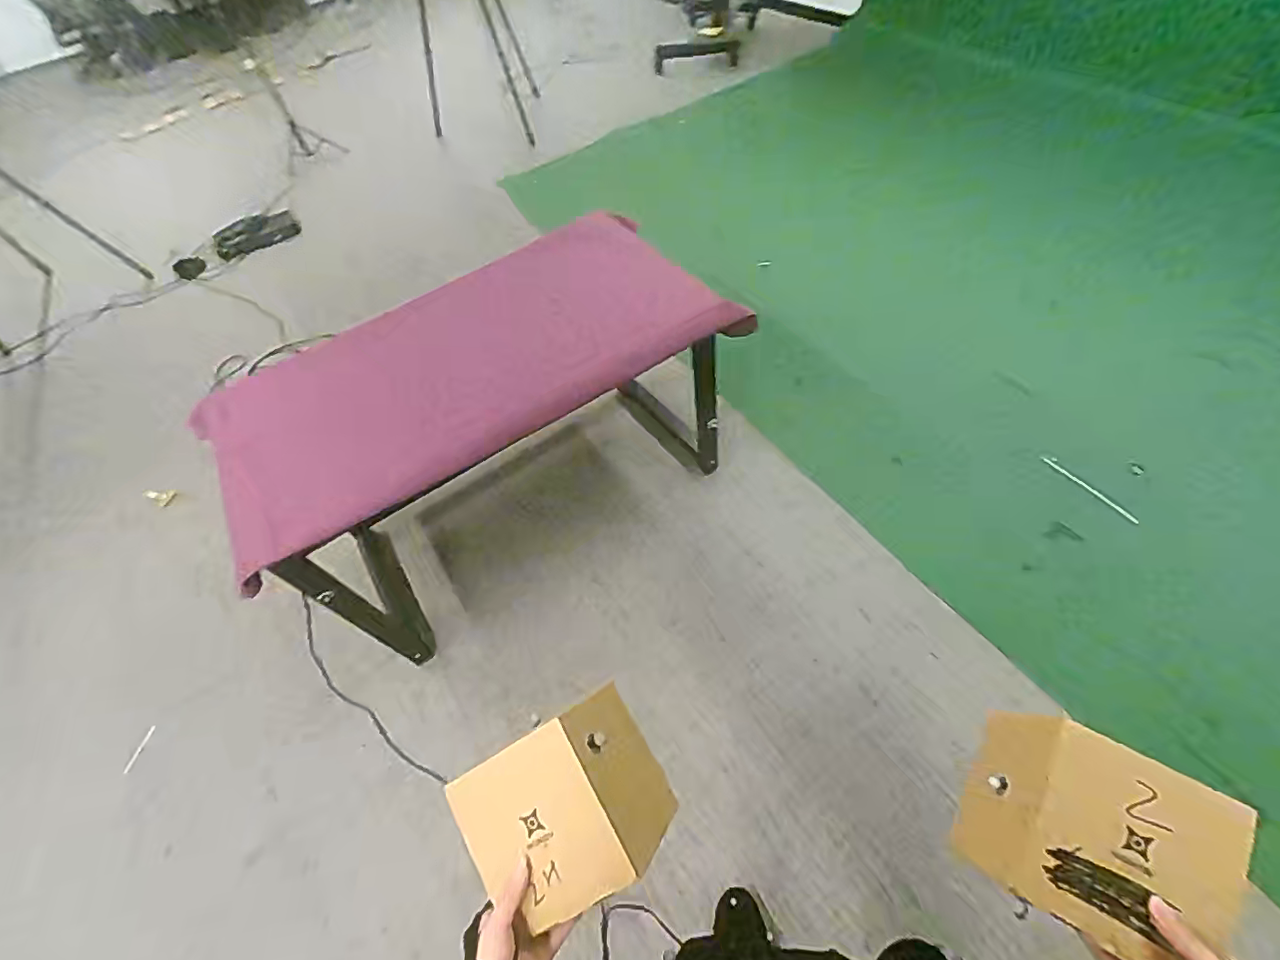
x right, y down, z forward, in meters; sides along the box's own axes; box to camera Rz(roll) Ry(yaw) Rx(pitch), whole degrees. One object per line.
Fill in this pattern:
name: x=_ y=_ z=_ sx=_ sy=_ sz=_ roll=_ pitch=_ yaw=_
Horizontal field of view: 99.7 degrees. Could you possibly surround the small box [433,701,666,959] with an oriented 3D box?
small box: x=-0.094 y=0.378 z=0.624 sx=0.168 sy=0.176 sz=0.179 roll=-35 pitch=74 yaw=10
